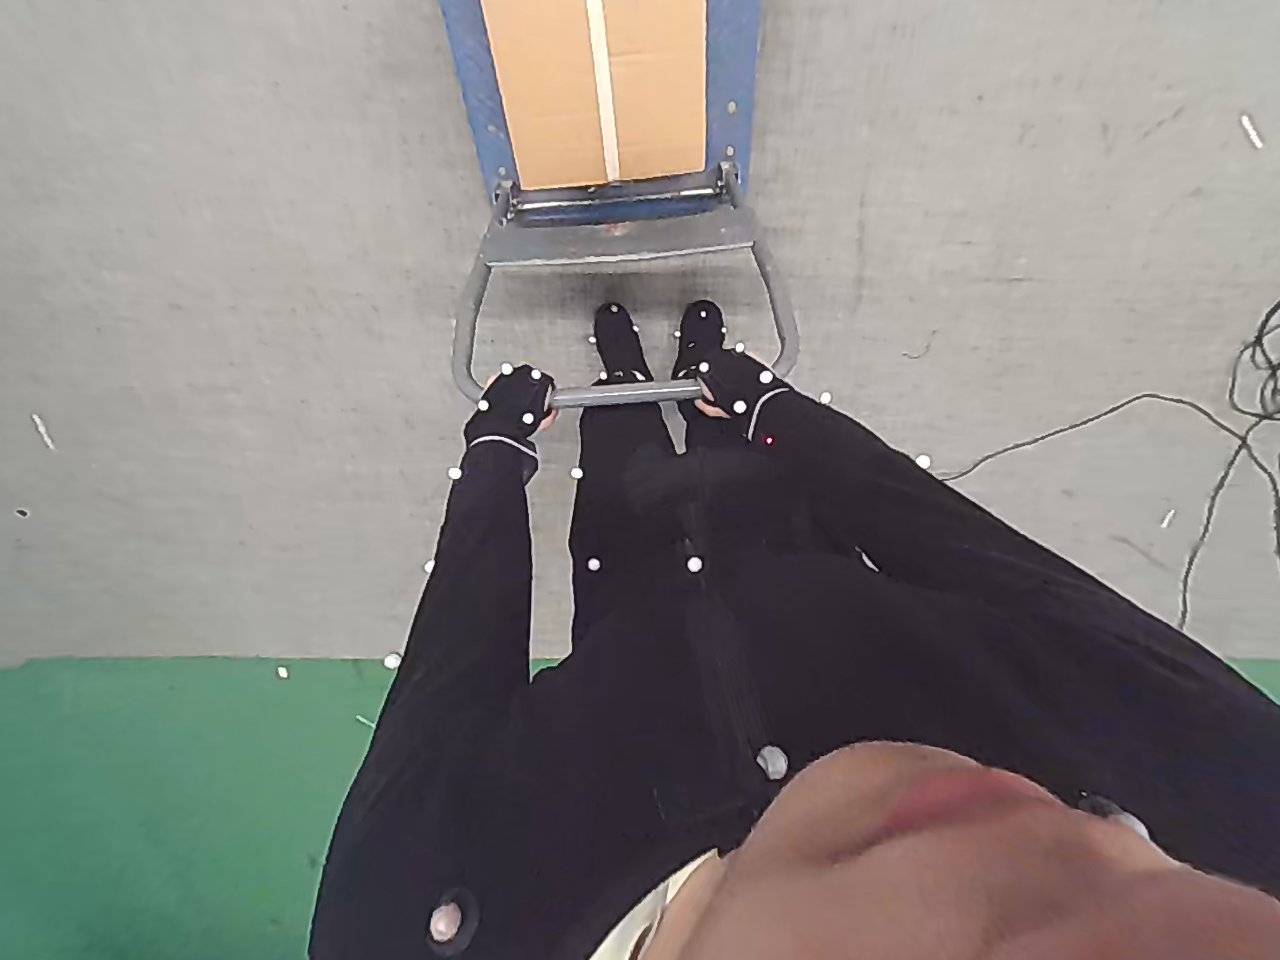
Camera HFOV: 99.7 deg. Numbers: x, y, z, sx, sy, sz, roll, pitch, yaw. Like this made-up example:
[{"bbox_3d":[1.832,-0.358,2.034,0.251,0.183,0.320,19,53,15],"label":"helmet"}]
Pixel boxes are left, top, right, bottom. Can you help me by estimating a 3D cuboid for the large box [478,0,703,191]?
[{"bbox_3d":[-0.071,-0.751,0.886,0.320,0.320,0.408,-5,134,2],"label":"large box"}]
